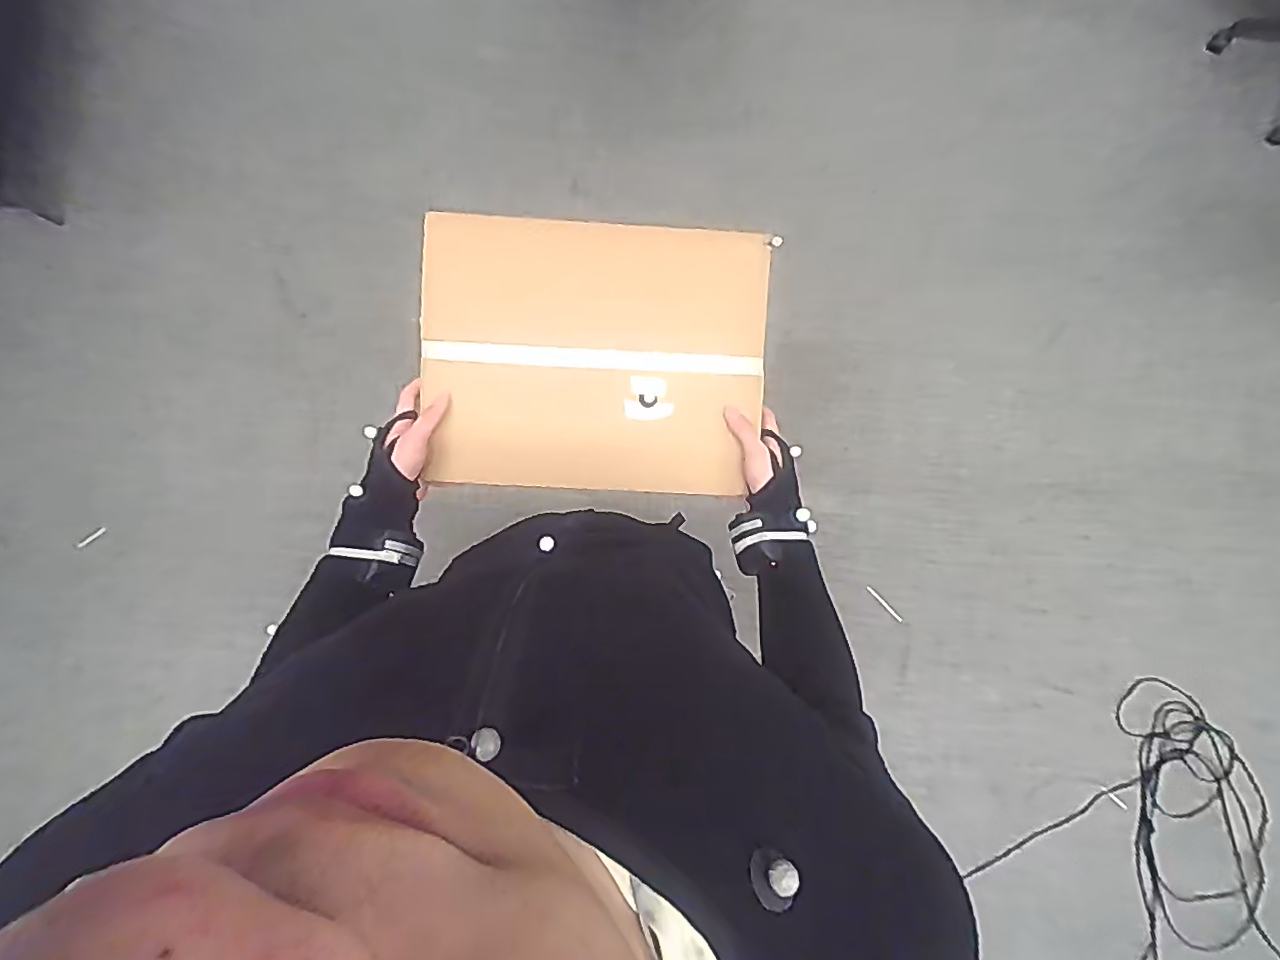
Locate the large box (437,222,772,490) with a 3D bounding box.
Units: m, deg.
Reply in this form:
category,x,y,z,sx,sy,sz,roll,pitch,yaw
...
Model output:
category,x,y,z,sx,sy,sz,roll,pitch,yaw
large box,-0.051,-0.155,0.798,0.408,0.320,0.320,2,95,-2
